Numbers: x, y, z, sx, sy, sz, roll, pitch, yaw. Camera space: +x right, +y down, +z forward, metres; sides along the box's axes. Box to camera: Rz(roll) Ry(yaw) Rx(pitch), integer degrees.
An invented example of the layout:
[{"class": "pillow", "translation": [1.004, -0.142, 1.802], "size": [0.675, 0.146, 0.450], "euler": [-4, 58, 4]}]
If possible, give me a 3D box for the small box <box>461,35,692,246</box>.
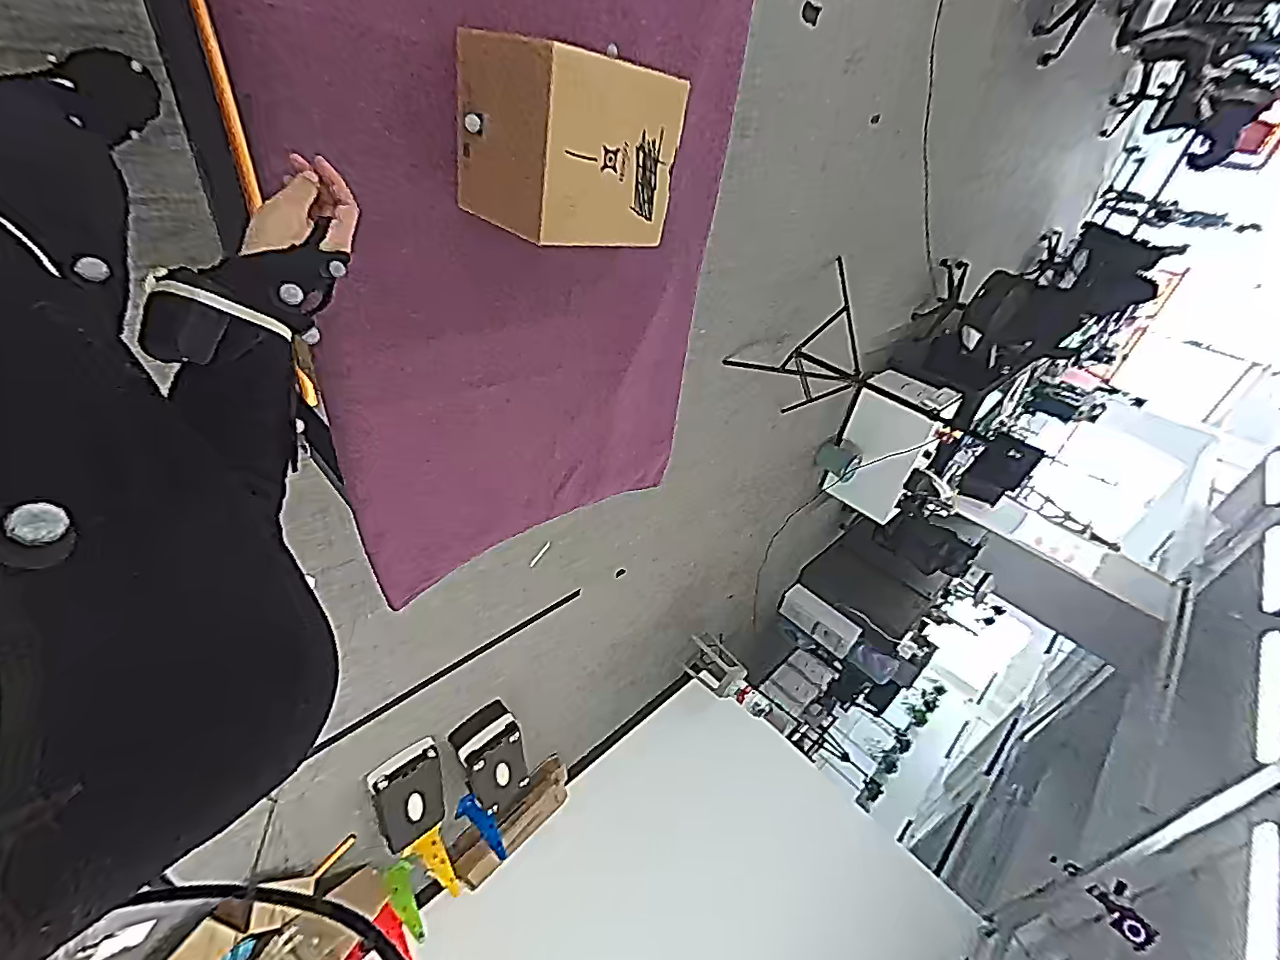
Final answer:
[{"class": "small box", "translation": [-0.075, -0.369, 0.601], "size": [0.179, 0.176, 0.168], "euler": [-21, 135, -41]}]
